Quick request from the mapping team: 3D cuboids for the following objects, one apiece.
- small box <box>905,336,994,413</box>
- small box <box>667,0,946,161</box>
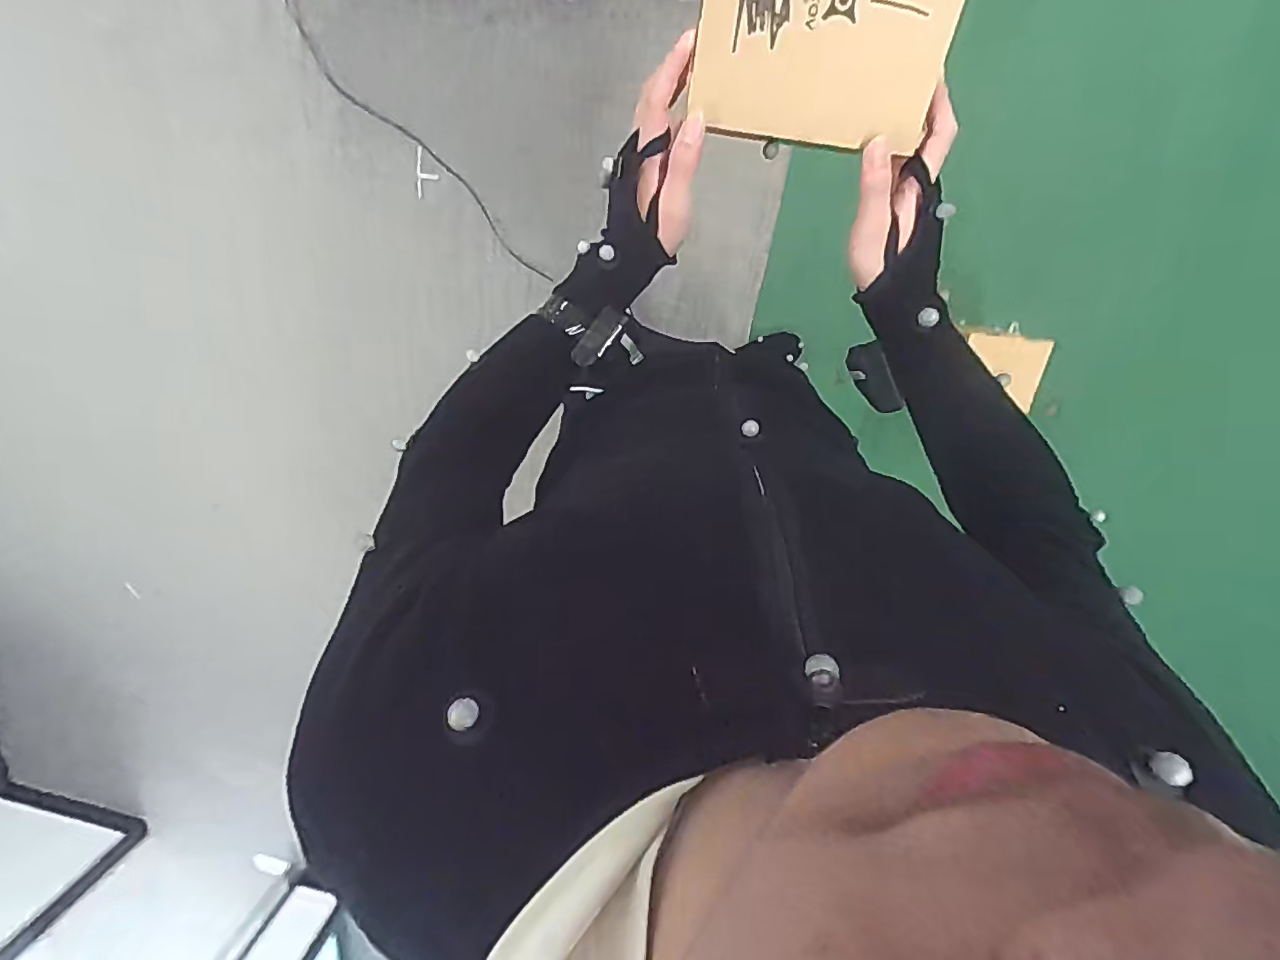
[{"bbox_3d":[0.796,-0.266,1.378,0.168,0.176,0.179,8,110,7],"label":"small box"},{"bbox_3d":[0.121,-0.359,0.431,0.179,0.176,0.168,7,121,-1],"label":"small box"}]
